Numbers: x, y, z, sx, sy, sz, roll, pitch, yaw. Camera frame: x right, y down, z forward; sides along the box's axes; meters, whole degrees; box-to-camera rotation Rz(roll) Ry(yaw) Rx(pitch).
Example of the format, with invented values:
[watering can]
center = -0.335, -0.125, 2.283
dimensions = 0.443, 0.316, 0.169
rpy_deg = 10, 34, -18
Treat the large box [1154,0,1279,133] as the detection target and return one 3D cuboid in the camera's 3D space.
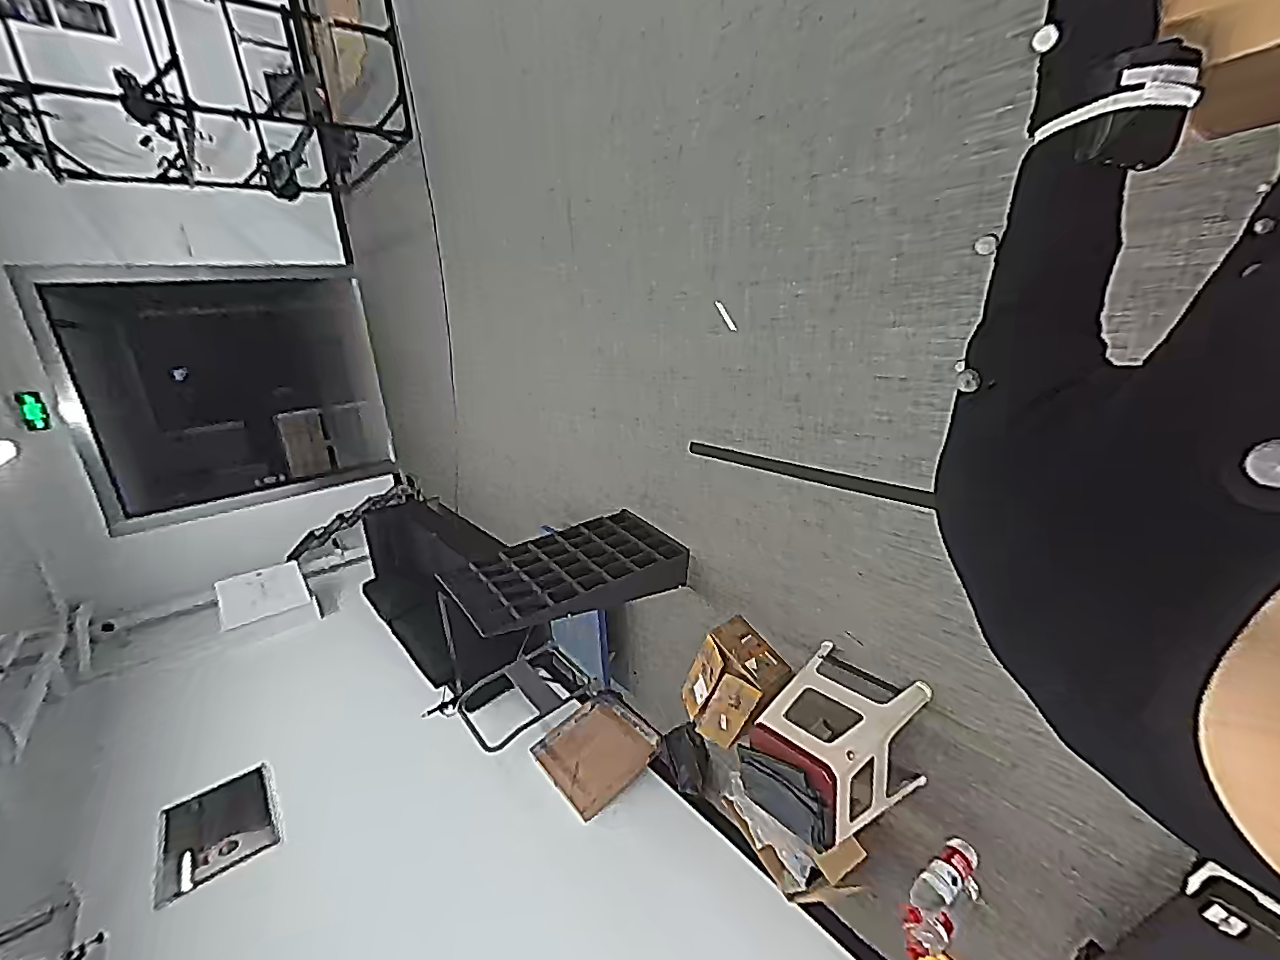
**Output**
[large box]
center = 0.584, -0.454, 0.295
dimensions = 0.408, 0.320, 0.320
rpy_deg = 9, 112, 49
